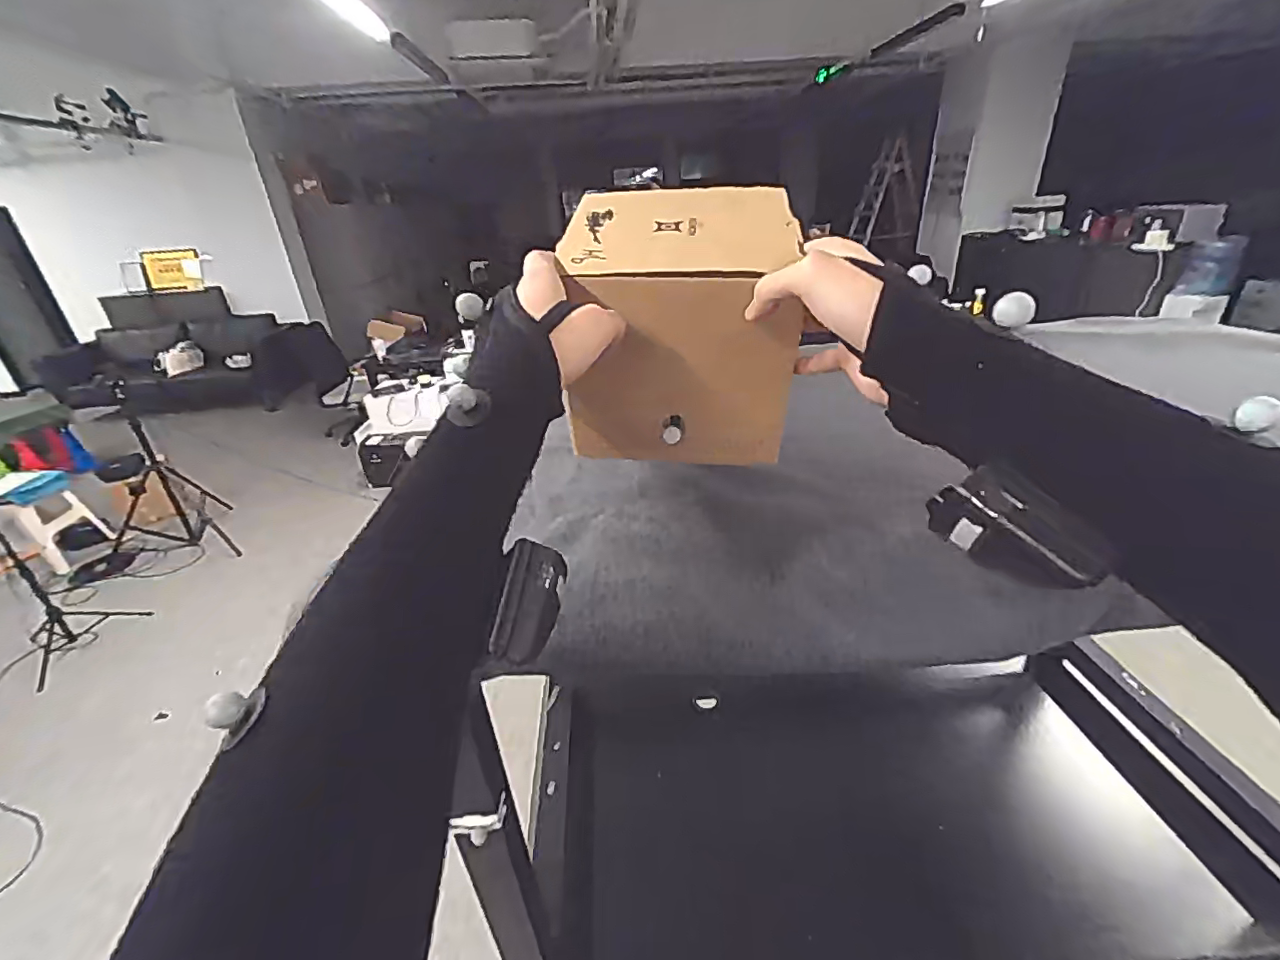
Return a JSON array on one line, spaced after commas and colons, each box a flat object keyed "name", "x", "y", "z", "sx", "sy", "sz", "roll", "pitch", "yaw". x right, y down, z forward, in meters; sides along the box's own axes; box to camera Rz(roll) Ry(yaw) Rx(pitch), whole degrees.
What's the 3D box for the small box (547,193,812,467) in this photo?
[{"name": "small box", "x": 0.034, "y": -0.126, "z": 0.463, "sx": 0.179, "sy": 0.176, "sz": 0.168, "roll": 3, "pitch": 45, "yaw": 5}]
